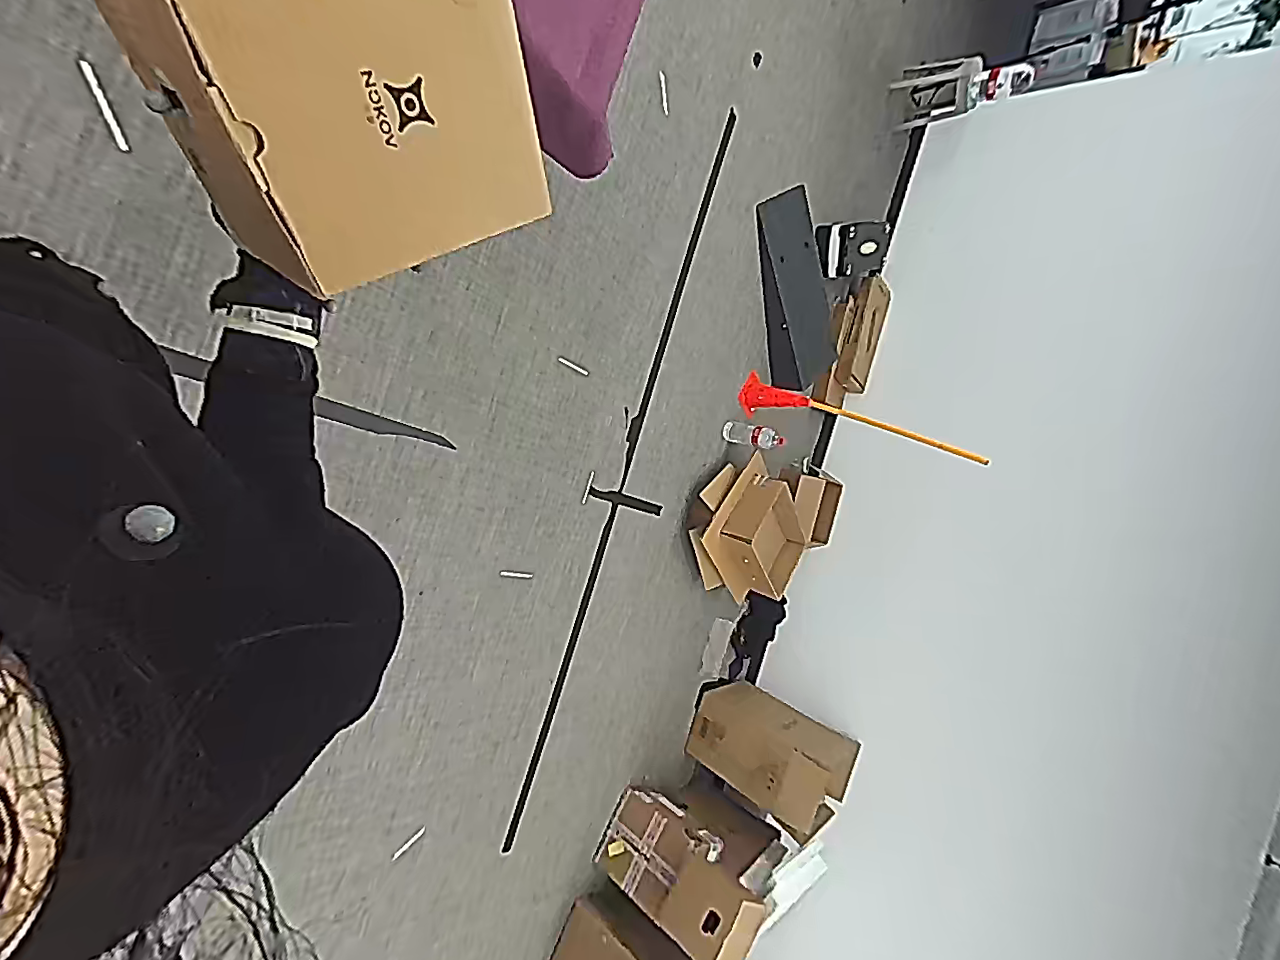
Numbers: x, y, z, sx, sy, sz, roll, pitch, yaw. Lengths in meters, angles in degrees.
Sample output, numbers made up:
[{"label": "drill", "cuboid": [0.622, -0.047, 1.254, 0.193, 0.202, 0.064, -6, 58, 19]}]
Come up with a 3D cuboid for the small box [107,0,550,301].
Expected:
[{"label": "small box", "cuboid": [-0.191, -0.248, 0.360, 0.179, 0.176, 0.168, -37, 141, -28]}]
